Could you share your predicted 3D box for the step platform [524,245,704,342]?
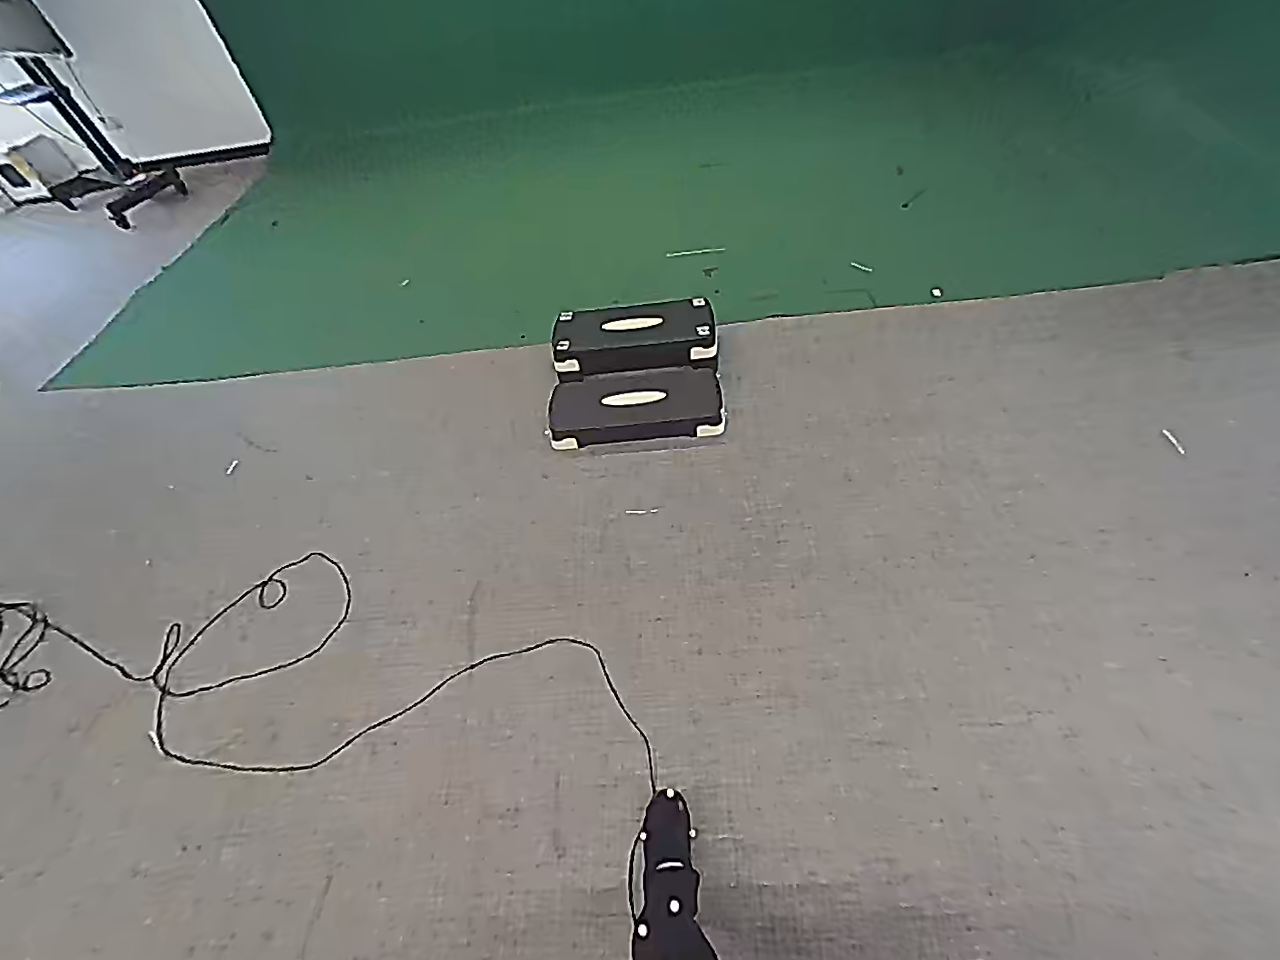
[{"bbox_3d":[-0.093,-0.730,2.124,0.684,0.204,0.286,-5,51,5],"label":"step platform"}]
